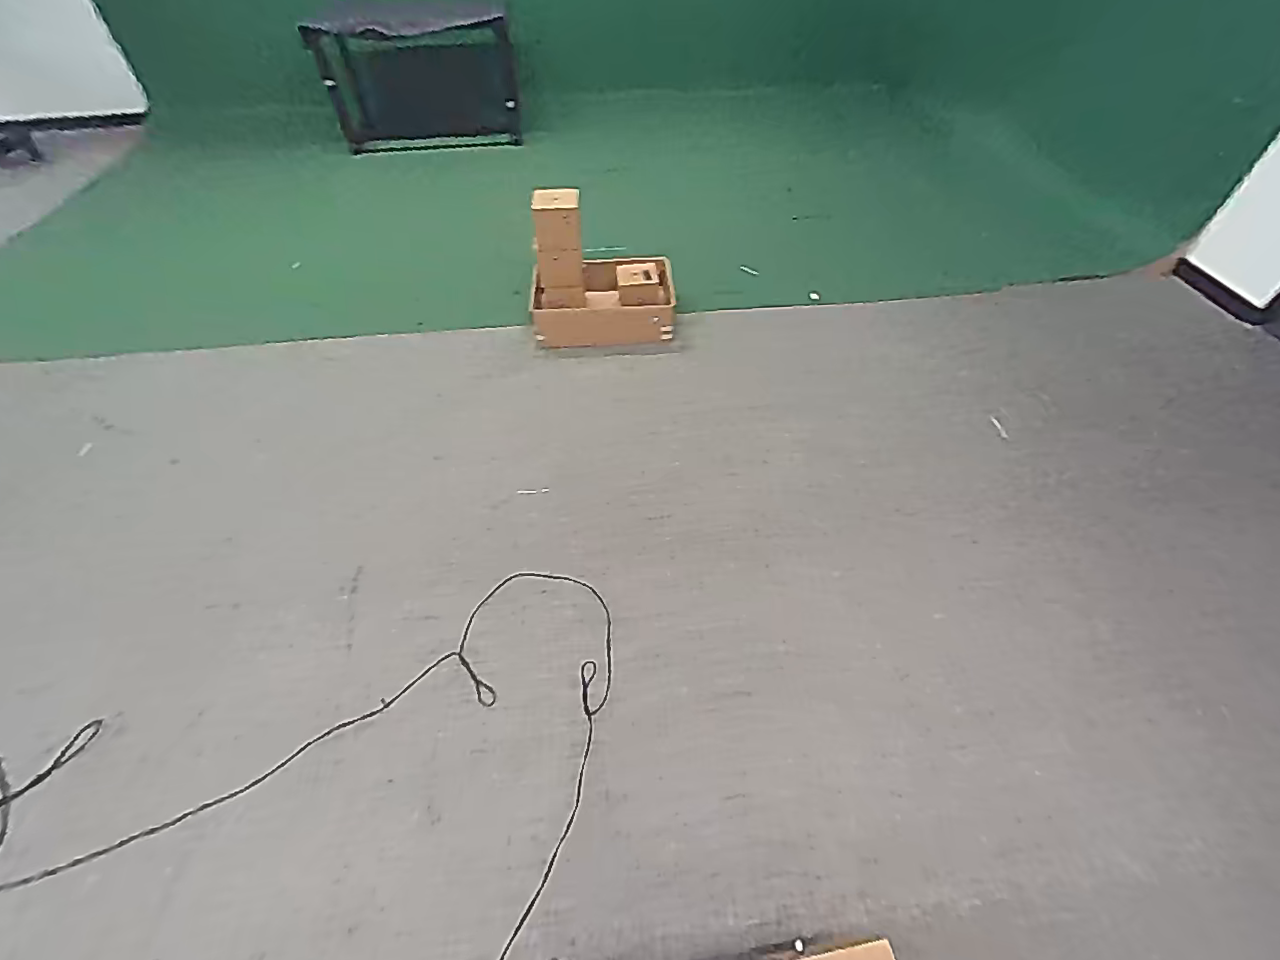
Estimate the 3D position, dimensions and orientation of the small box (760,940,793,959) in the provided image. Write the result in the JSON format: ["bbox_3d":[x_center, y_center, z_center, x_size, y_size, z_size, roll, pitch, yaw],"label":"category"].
[{"bbox_3d":[0.332,0.975,1.014,0.179,0.176,0.168,-6,52,-4],"label":"small box"}]

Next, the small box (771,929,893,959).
[{"bbox_3d":[0.328,0.866,0.893,0.179,0.176,0.168,-8,53,-7],"label":"small box"}]

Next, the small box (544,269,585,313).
[{"bbox_3d":[-0.334,-0.865,2.431,0.168,0.176,0.179,-3,52,-3],"label":"small box"}]

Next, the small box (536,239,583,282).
[{"bbox_3d":[-0.340,-0.959,2.296,0.179,0.176,0.168,-2,52,-3],"label":"small box"}]

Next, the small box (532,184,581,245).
[{"bbox_3d":[-0.329,-1.060,2.165,0.179,0.176,0.168,-3,51,-2],"label":"small box"}]
